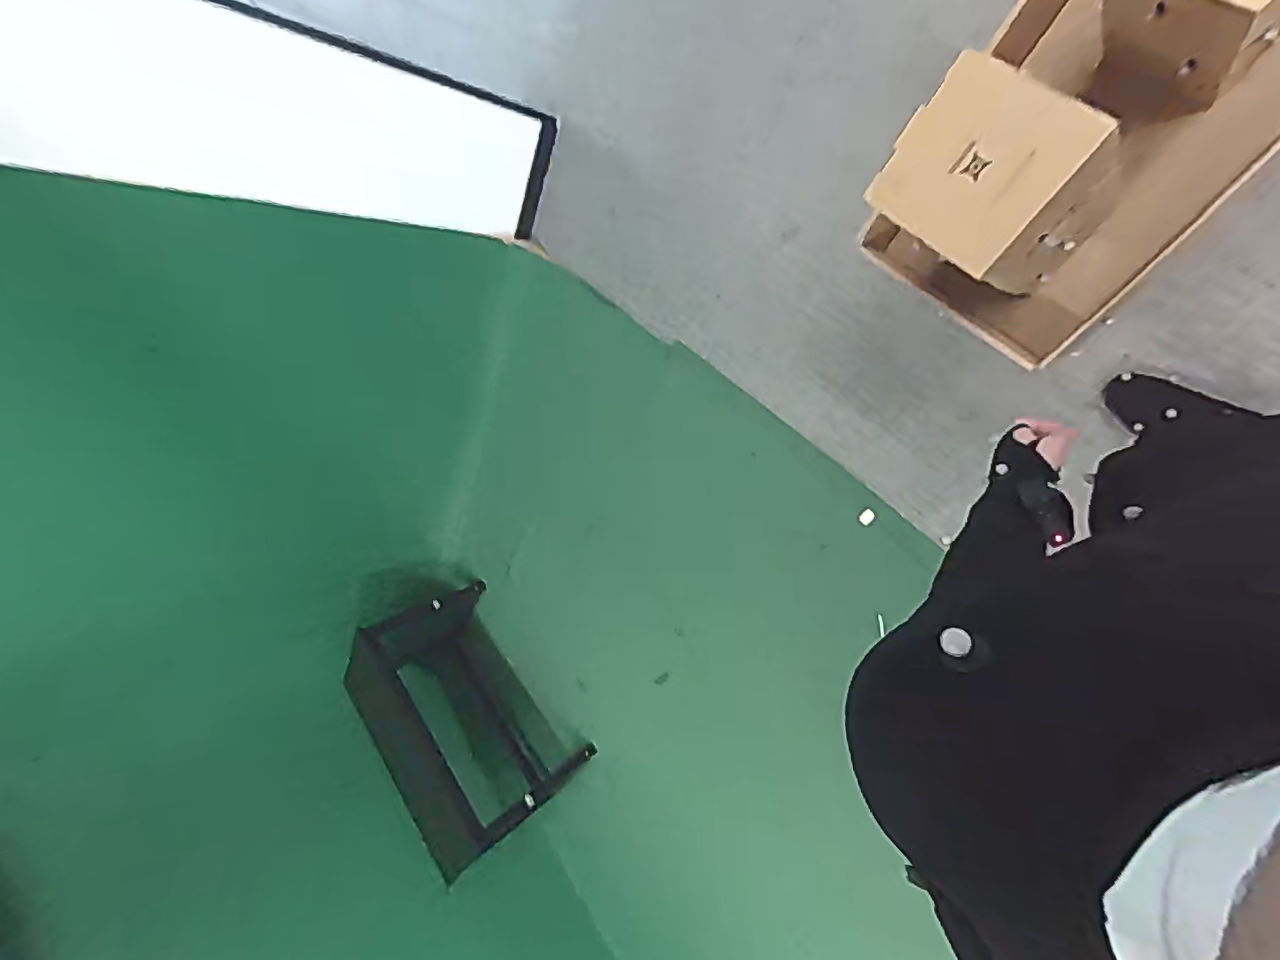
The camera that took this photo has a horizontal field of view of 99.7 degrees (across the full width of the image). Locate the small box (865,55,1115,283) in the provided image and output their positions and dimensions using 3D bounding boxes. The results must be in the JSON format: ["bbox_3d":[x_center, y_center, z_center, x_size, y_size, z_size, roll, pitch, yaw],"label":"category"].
[{"bbox_3d":[0.416,-0.354,0.649,0.179,0.176,0.168,50,130,21],"label":"small box"}]

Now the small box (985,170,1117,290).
[{"bbox_3d":[0.523,-0.386,0.767,0.179,0.176,0.168,51,130,20],"label":"small box"}]

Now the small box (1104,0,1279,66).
[{"bbox_3d":[0.658,-0.596,0.590,0.179,0.176,0.168,49,128,21],"label":"small box"}]
